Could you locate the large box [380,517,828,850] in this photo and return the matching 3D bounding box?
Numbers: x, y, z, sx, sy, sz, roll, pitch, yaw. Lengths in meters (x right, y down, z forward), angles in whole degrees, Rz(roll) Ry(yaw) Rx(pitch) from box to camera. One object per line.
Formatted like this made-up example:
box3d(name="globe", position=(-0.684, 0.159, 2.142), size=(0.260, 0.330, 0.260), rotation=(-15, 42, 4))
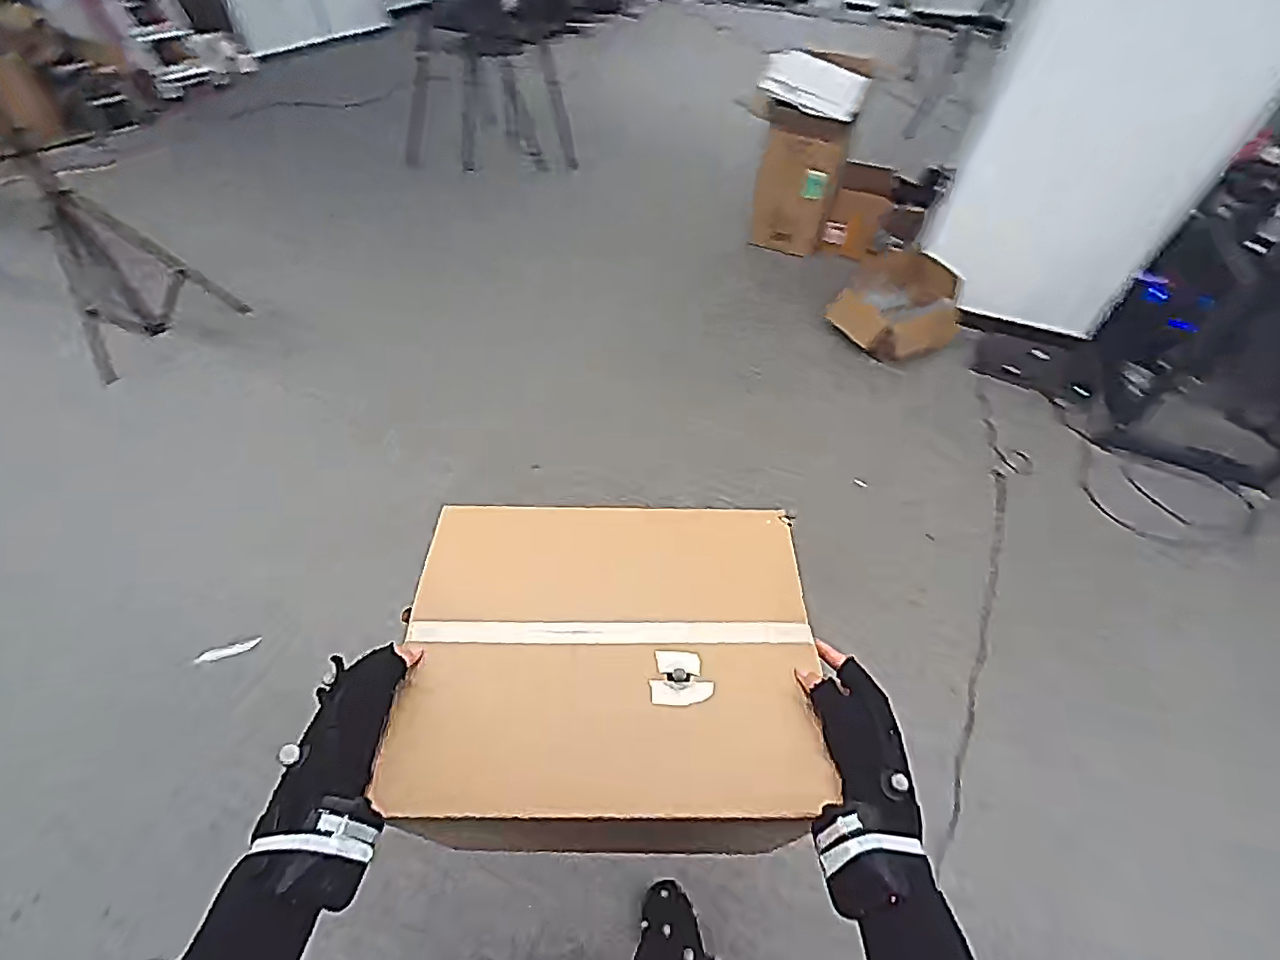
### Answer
box3d(name="large box", position=(-0.038, 0.259, 0.679), size=(0.408, 0.320, 0.320), rotation=(0, 52, -2))
